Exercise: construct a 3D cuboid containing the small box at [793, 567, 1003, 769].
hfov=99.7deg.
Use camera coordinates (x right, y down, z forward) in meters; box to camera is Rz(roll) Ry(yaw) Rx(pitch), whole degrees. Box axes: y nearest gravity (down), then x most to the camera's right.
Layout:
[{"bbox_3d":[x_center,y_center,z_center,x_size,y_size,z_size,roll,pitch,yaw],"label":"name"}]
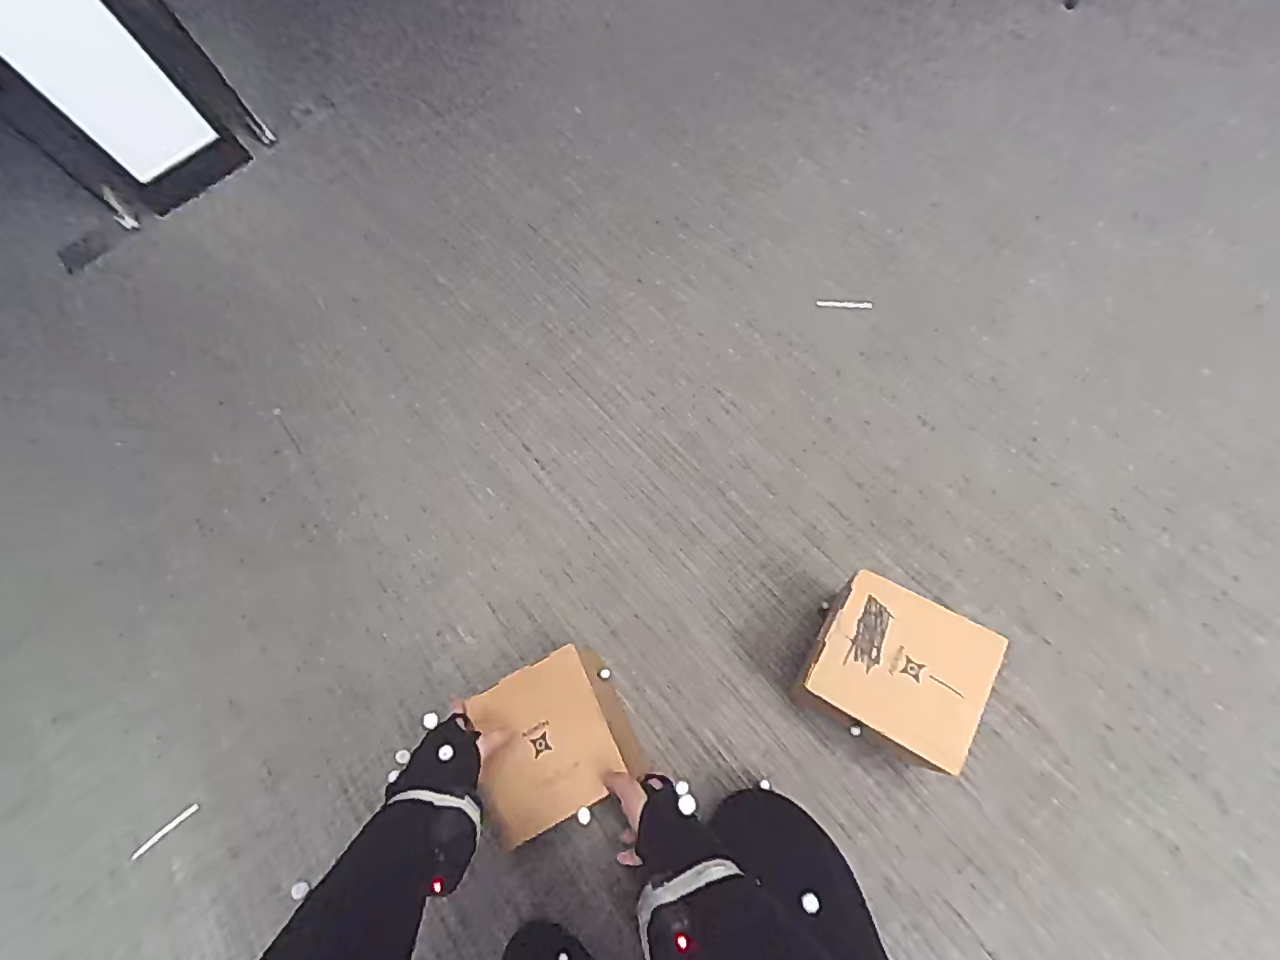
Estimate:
[{"bbox_3d":[0.313,0.241,0.694,0.179,0.176,0.168,27,74,19],"label":"small box"}]
